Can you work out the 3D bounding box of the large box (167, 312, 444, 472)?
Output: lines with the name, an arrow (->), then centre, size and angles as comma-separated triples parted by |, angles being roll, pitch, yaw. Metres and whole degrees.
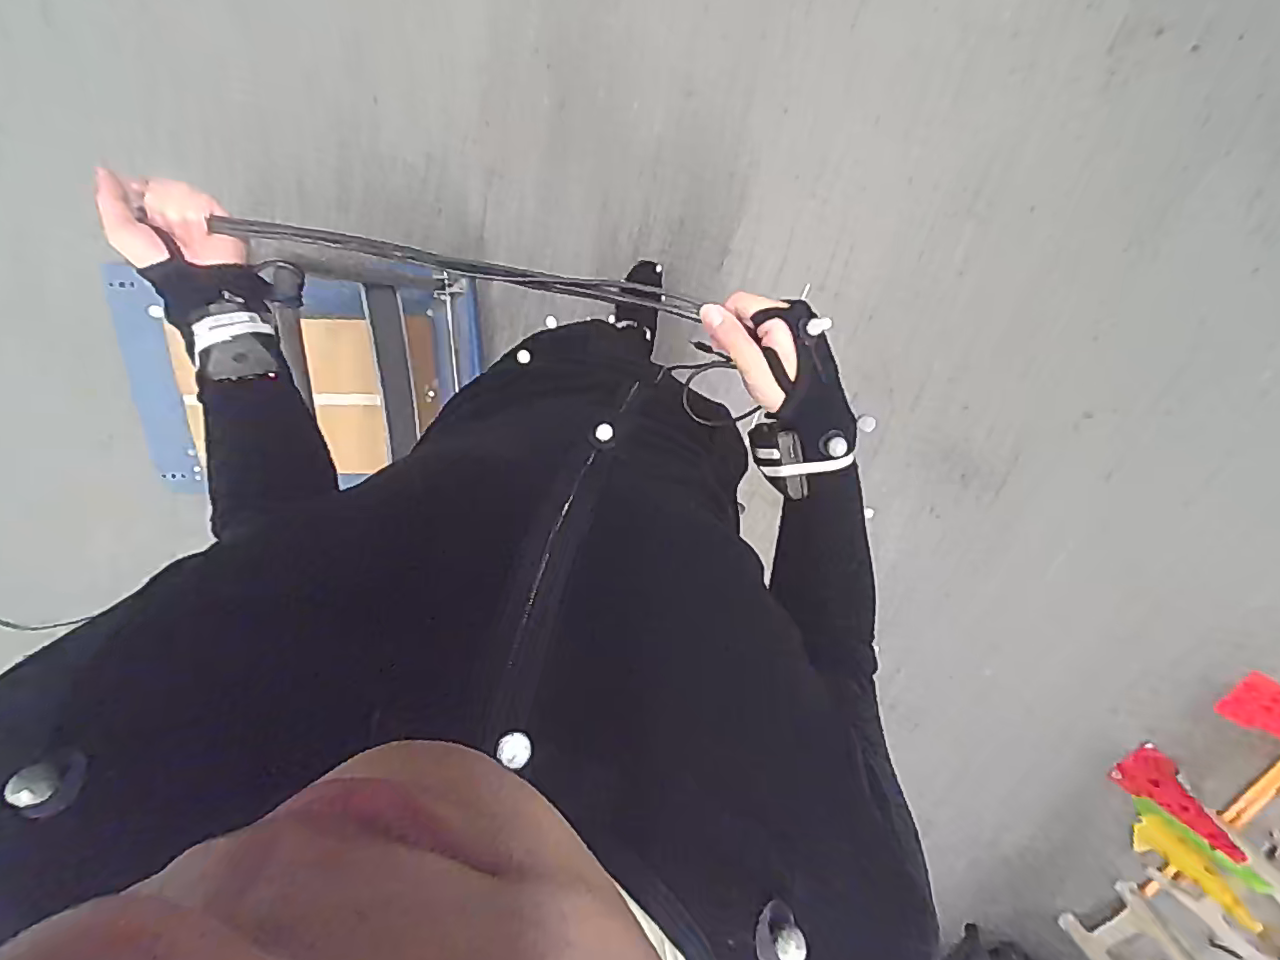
large box -> -0.703, -0.210, 1.214 | 0.408, 0.320, 0.320 | 0, 107, -1
